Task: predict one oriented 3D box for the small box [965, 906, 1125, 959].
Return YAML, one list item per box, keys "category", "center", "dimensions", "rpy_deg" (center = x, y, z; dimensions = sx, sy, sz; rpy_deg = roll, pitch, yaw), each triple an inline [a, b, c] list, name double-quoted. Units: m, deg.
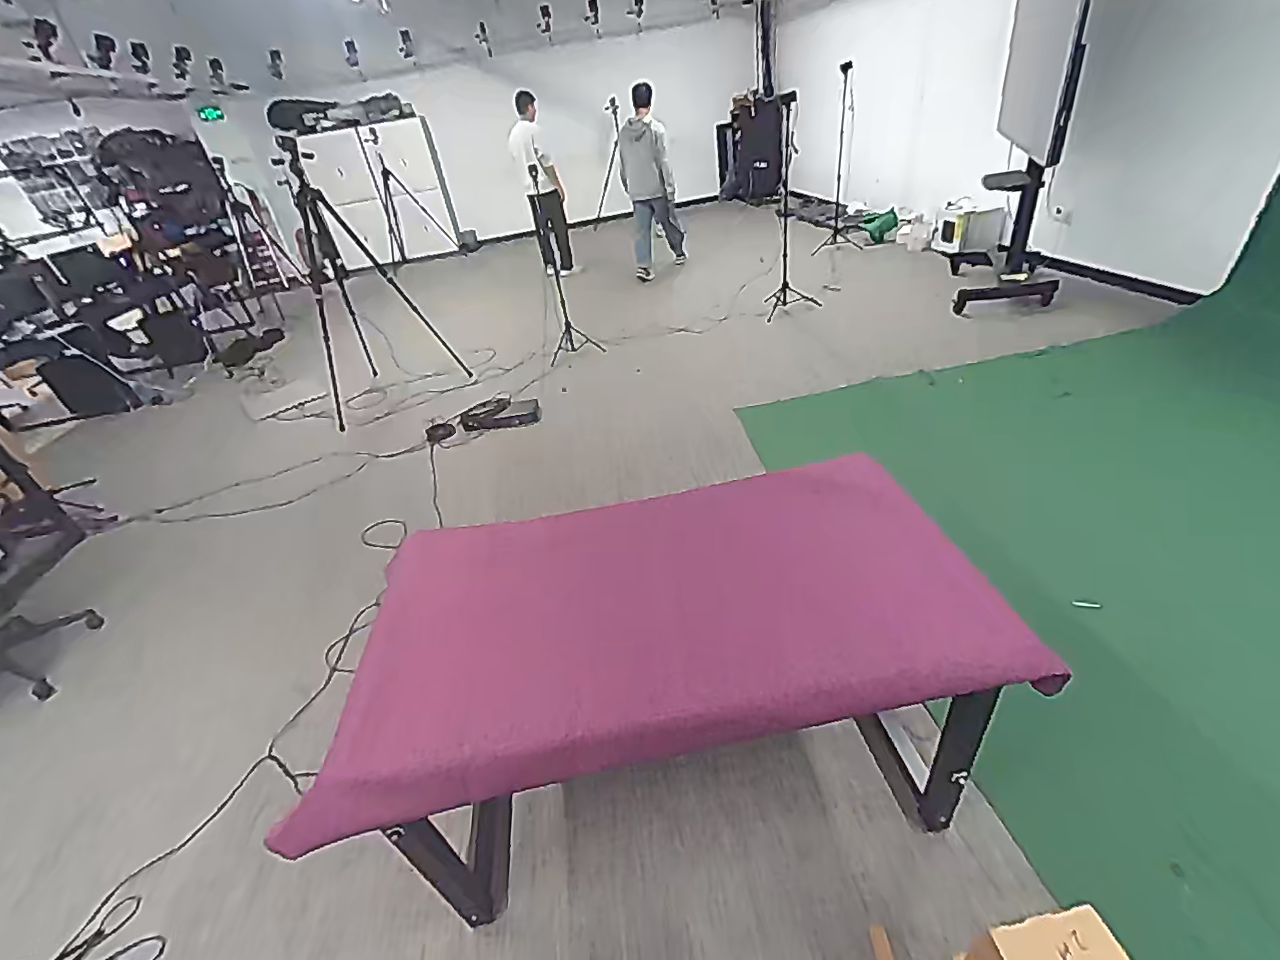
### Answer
- category: "small box"
  center: [0.610, 0.761, 0.778]
  dimensions: [0.168, 0.176, 0.179]
  rpy_deg: [-11, 35, -3]
